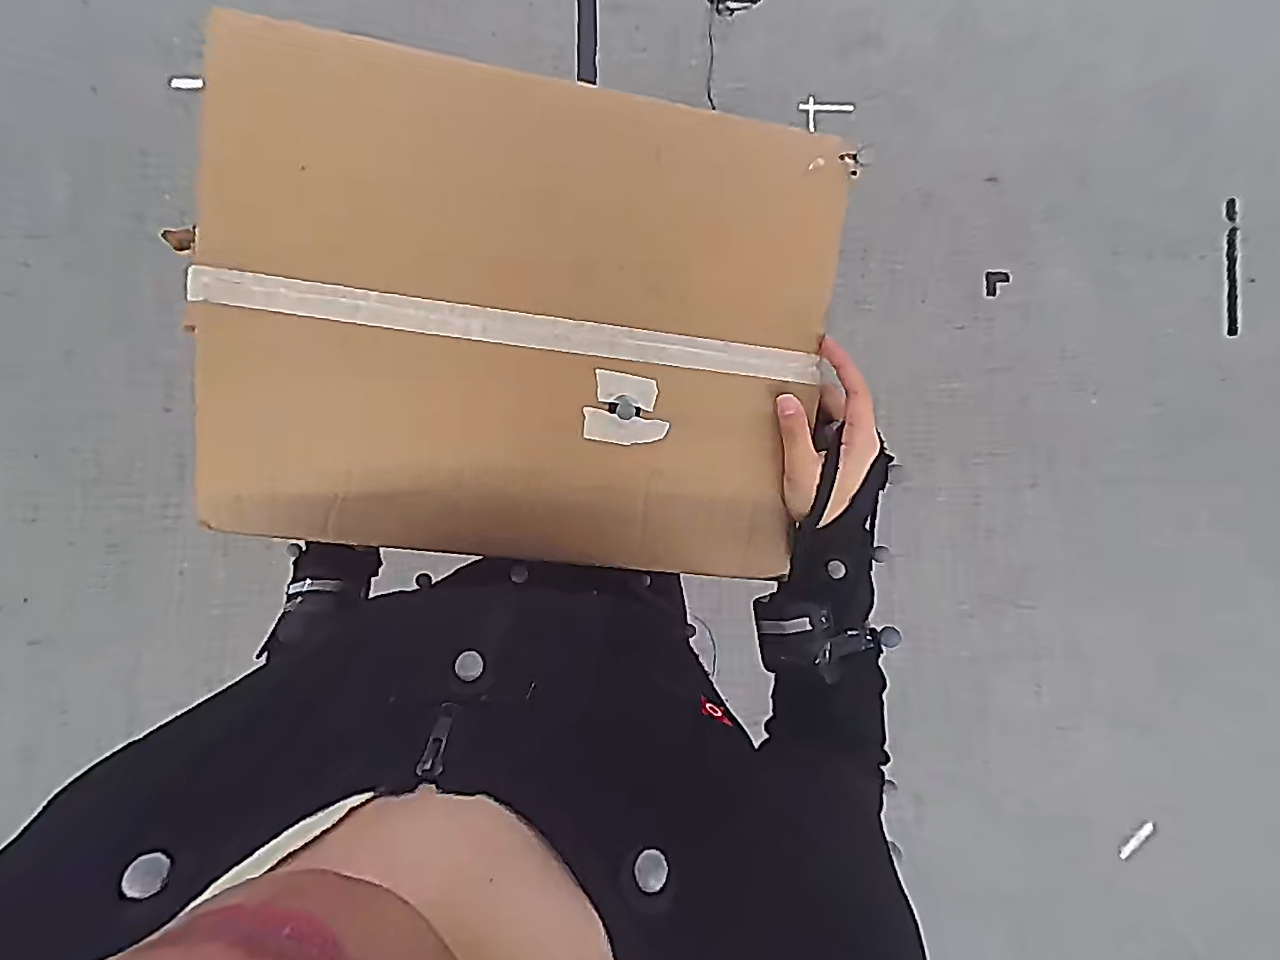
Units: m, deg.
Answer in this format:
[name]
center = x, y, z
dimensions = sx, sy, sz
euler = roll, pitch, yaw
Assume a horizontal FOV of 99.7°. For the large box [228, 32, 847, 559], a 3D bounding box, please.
[large box]
center = -0.084, -0.124, 0.516
dimensions = 0.408, 0.320, 0.320
euler = 6, 98, -9
